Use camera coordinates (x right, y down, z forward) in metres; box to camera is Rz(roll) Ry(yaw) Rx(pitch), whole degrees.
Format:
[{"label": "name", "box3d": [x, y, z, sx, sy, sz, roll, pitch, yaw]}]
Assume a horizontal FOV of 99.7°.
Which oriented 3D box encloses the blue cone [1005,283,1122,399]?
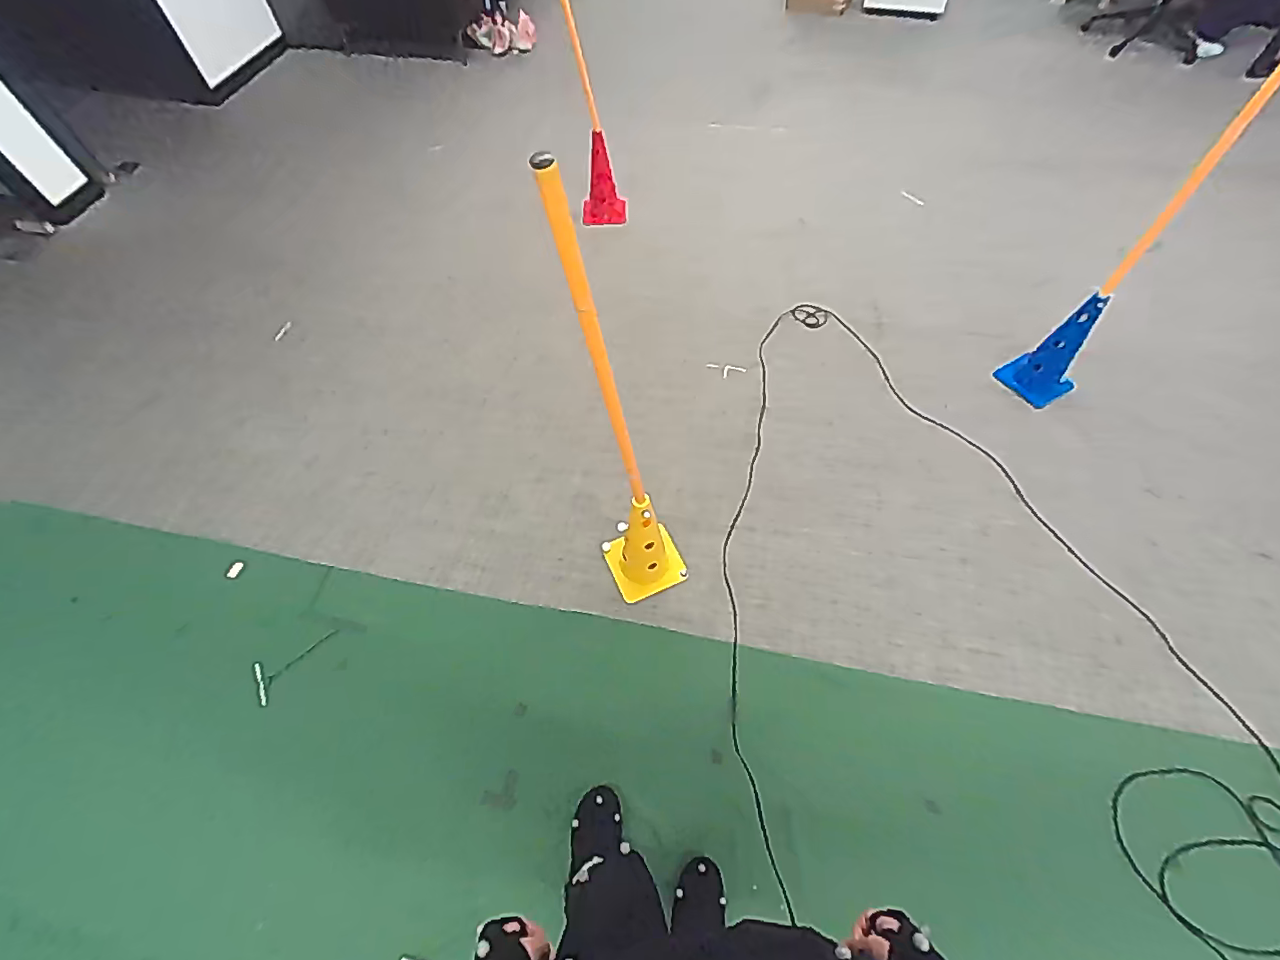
[{"label": "blue cone", "box3d": [1.375, -0.462, 1.725, 0.193, 0.380, 0.192, -29, 60, -17]}]
